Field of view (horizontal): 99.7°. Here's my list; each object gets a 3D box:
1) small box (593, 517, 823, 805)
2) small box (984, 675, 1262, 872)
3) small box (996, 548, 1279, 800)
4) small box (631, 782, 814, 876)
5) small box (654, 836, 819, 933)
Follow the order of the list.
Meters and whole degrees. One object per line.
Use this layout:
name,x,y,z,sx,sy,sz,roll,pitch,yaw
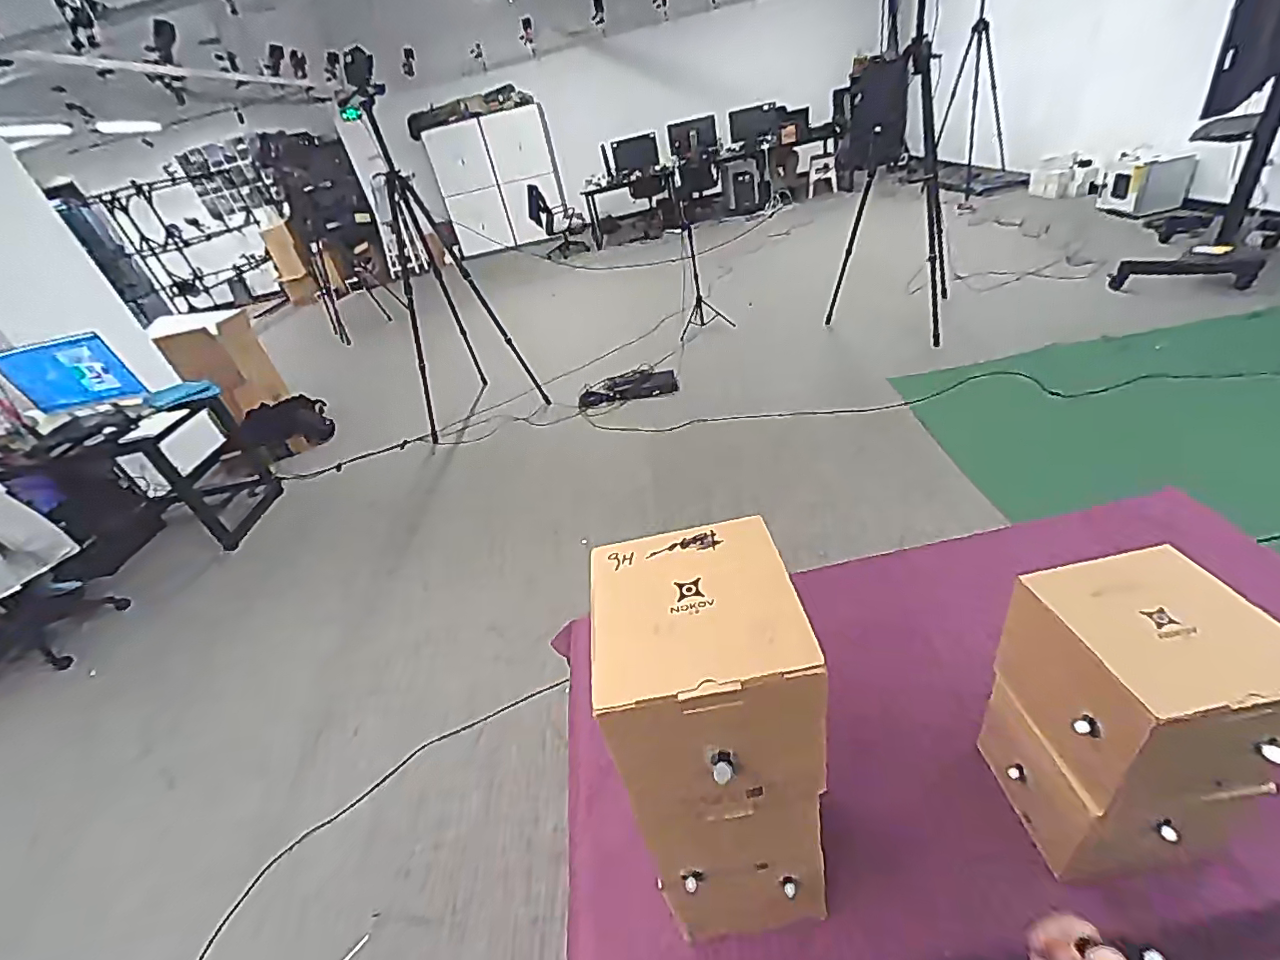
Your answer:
small box,0.057,0.164,0.485,0.168,0.176,0.179,-11,35,2
small box,0.543,0.337,0.646,0.179,0.176,0.168,-11,35,4
small box,0.511,0.202,0.559,0.168,0.176,0.179,-12,33,2
small box,0.082,0.294,0.583,0.168,0.176,0.179,-11,33,2
small box,0.113,0.427,0.673,0.179,0.176,0.168,-11,34,2
